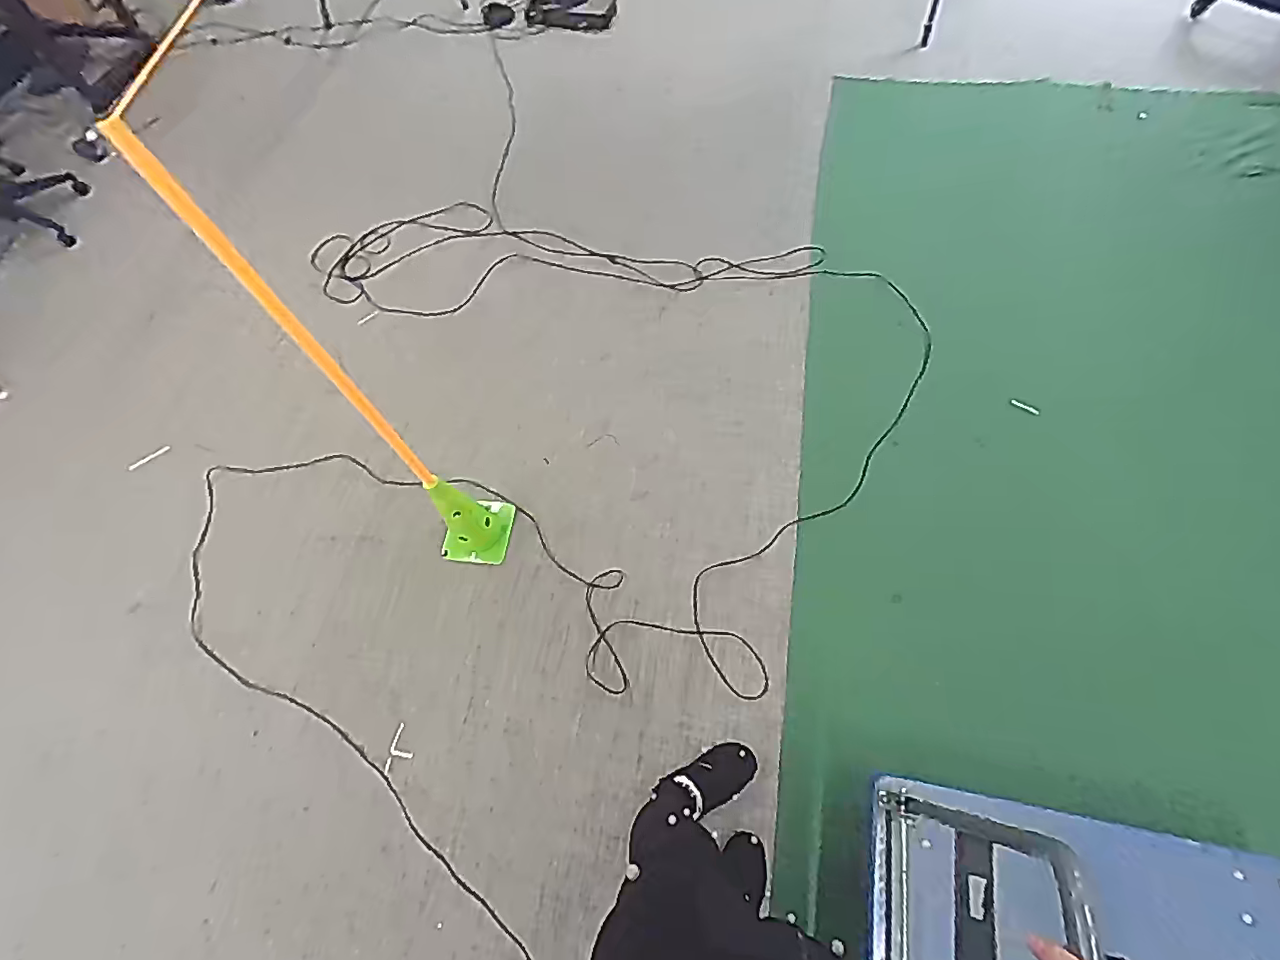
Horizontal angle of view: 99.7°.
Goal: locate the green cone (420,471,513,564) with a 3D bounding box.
[{"bbox_3d":[-0.518,0.080,1.519,0.200,0.368,0.202,4,63,7],"label":"green cone"}]
